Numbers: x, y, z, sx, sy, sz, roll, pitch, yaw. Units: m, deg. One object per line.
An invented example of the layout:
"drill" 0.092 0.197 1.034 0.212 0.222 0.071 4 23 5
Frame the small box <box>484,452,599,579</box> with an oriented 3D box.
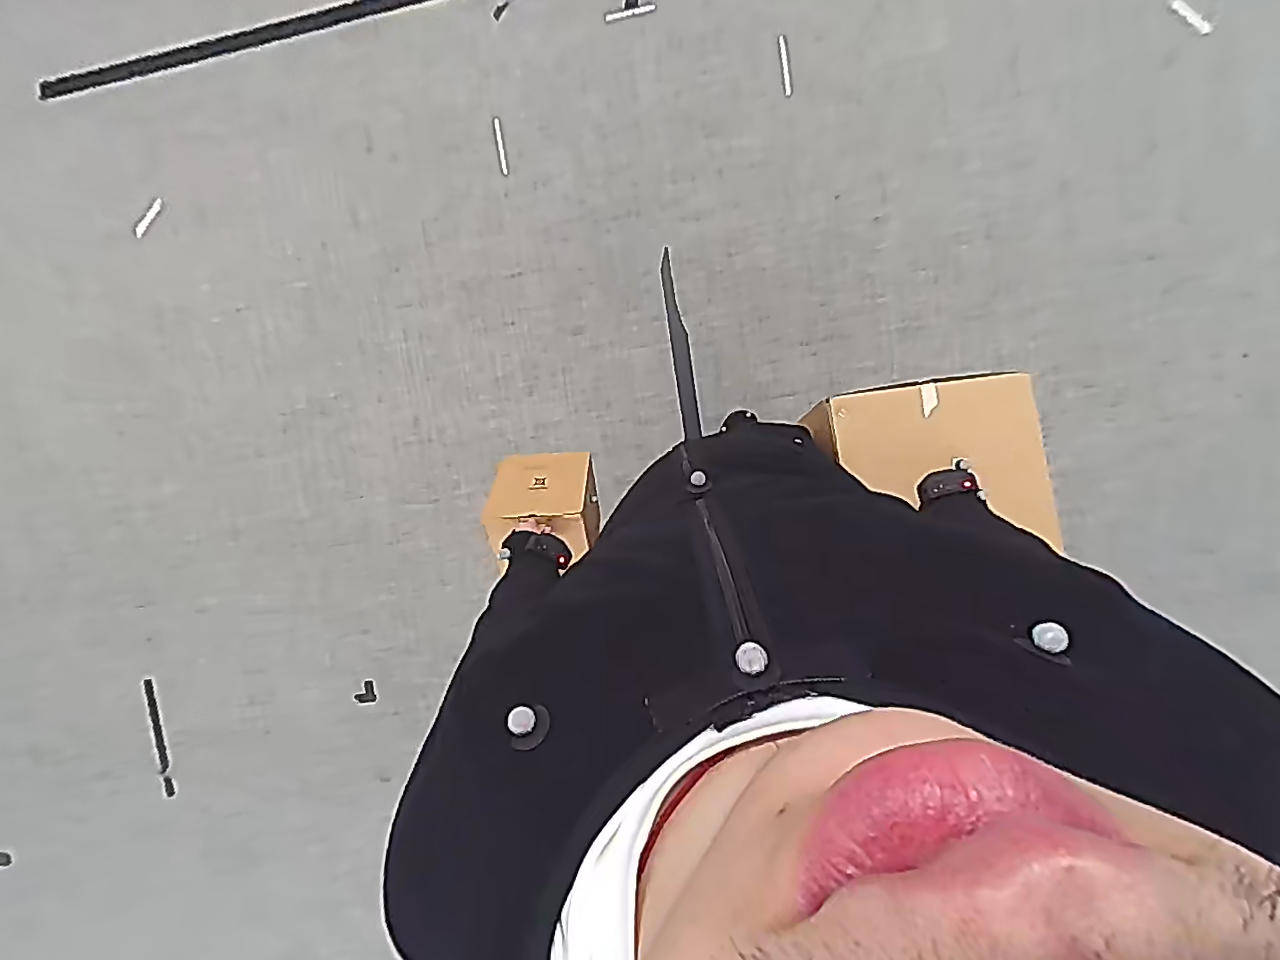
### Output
"small box" -0.168 0.069 0.992 0.168 0.179 0.176 -3 129 2
